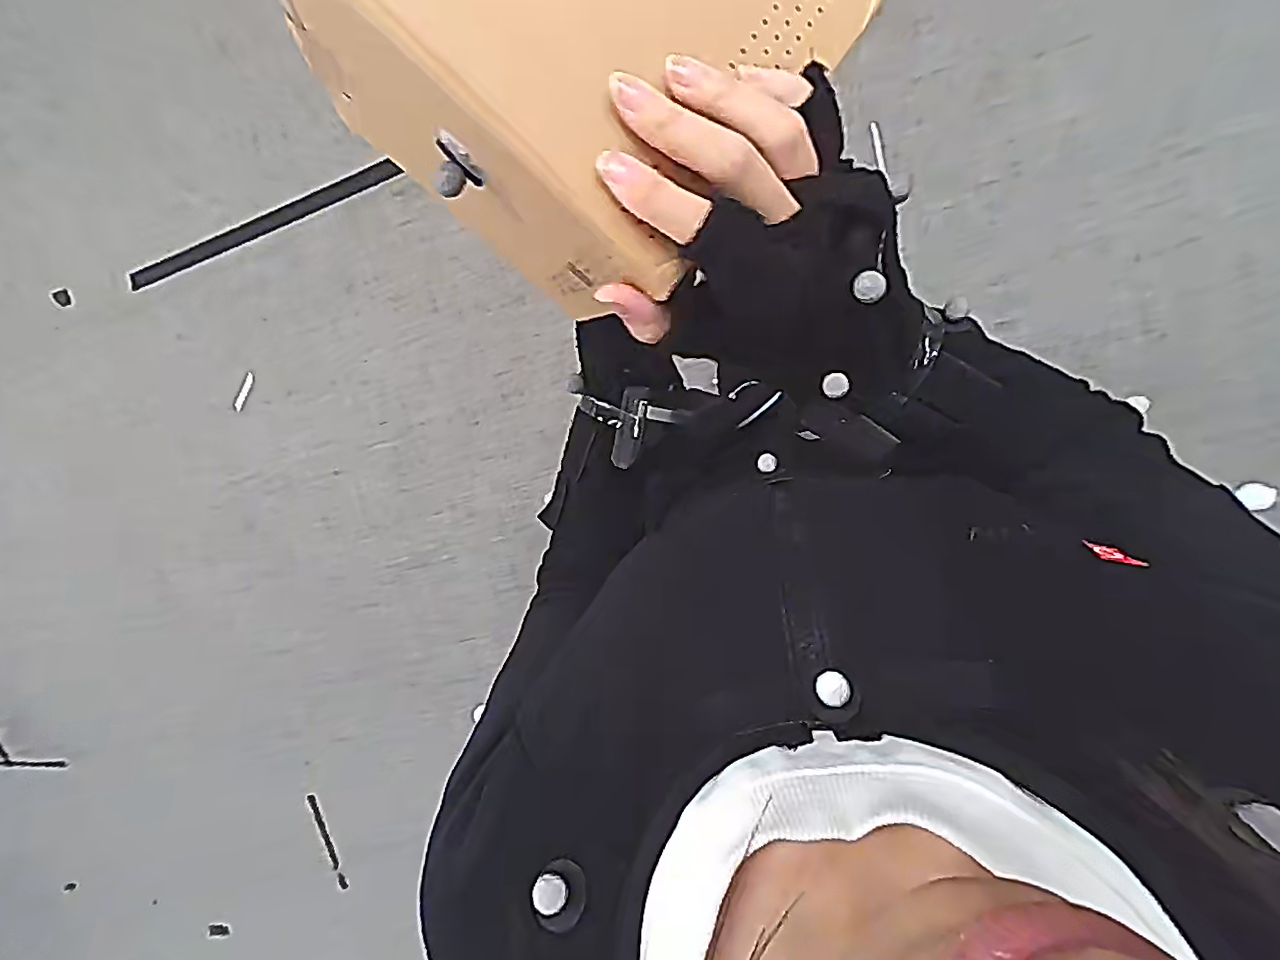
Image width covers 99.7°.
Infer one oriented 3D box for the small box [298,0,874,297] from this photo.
[{"bbox_3d":[-0.023,-0.207,0.263,0.176,0.168,0.179,37,91,-22],"label":"small box"}]
